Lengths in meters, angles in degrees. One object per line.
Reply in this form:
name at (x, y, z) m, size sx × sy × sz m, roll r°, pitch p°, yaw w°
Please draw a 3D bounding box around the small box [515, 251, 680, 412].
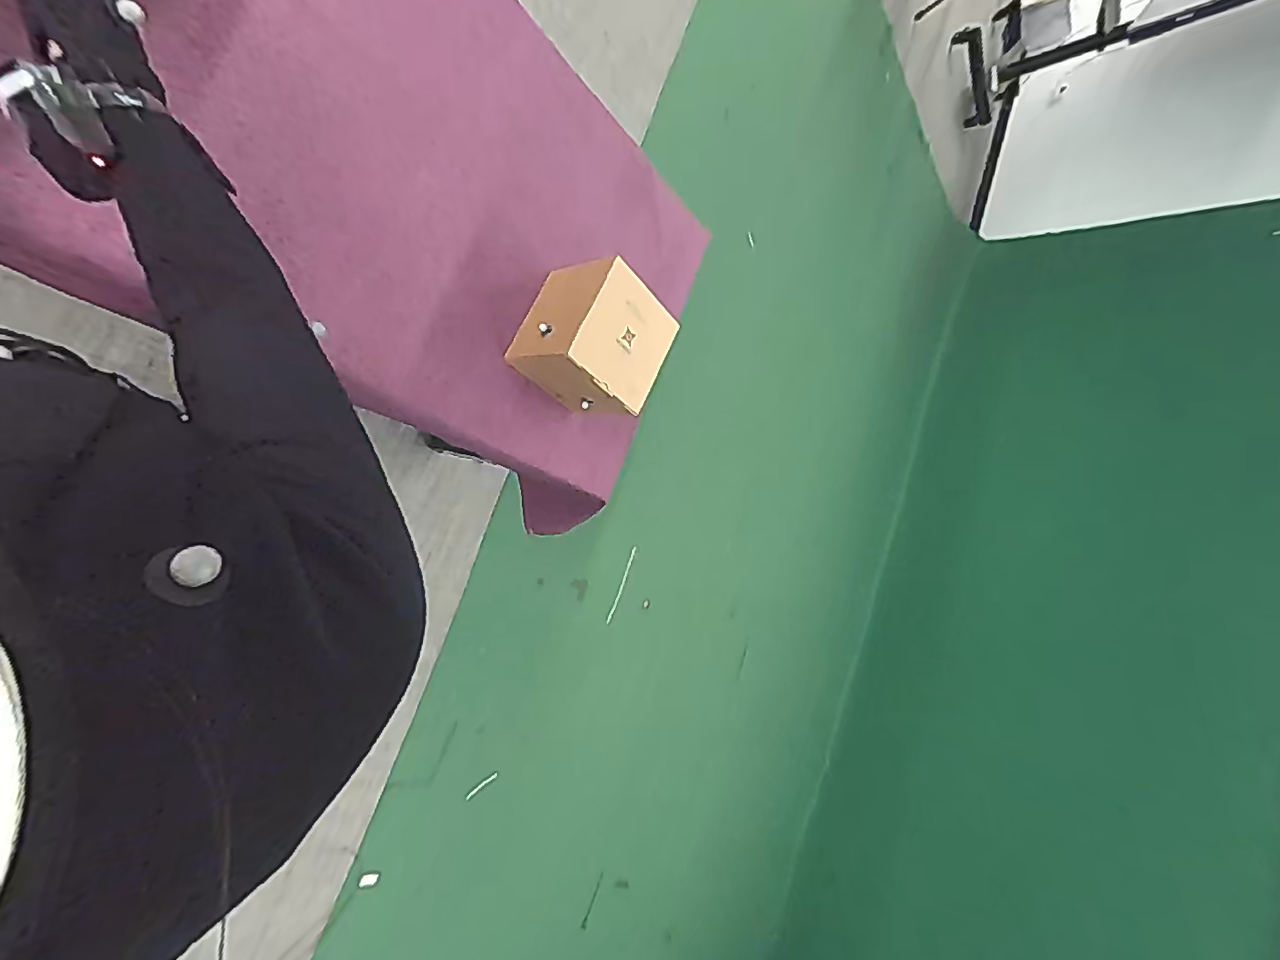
small box at (-0.072, -0.227, 0.860) m, size 0.168 × 0.176 × 0.179 m, roll 37°, pitch 72°, yaw -42°
